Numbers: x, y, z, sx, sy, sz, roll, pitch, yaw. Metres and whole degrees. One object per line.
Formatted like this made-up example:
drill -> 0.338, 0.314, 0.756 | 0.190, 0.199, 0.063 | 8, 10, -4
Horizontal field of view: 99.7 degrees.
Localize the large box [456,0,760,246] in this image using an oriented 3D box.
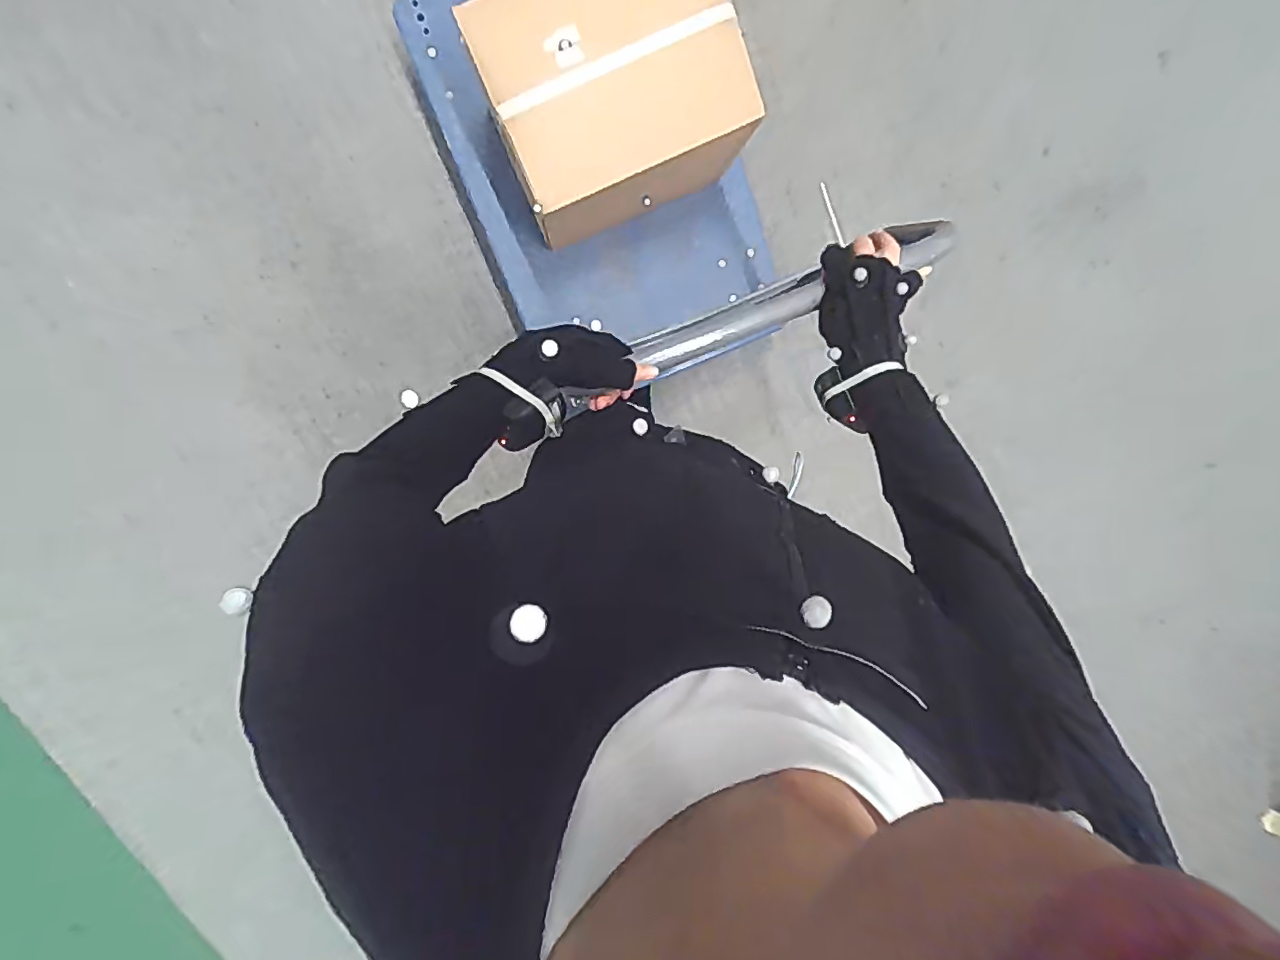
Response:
large box -> -0.055, -0.686, 0.994 | 0.408, 0.320, 0.320 | -25, 103, 0
